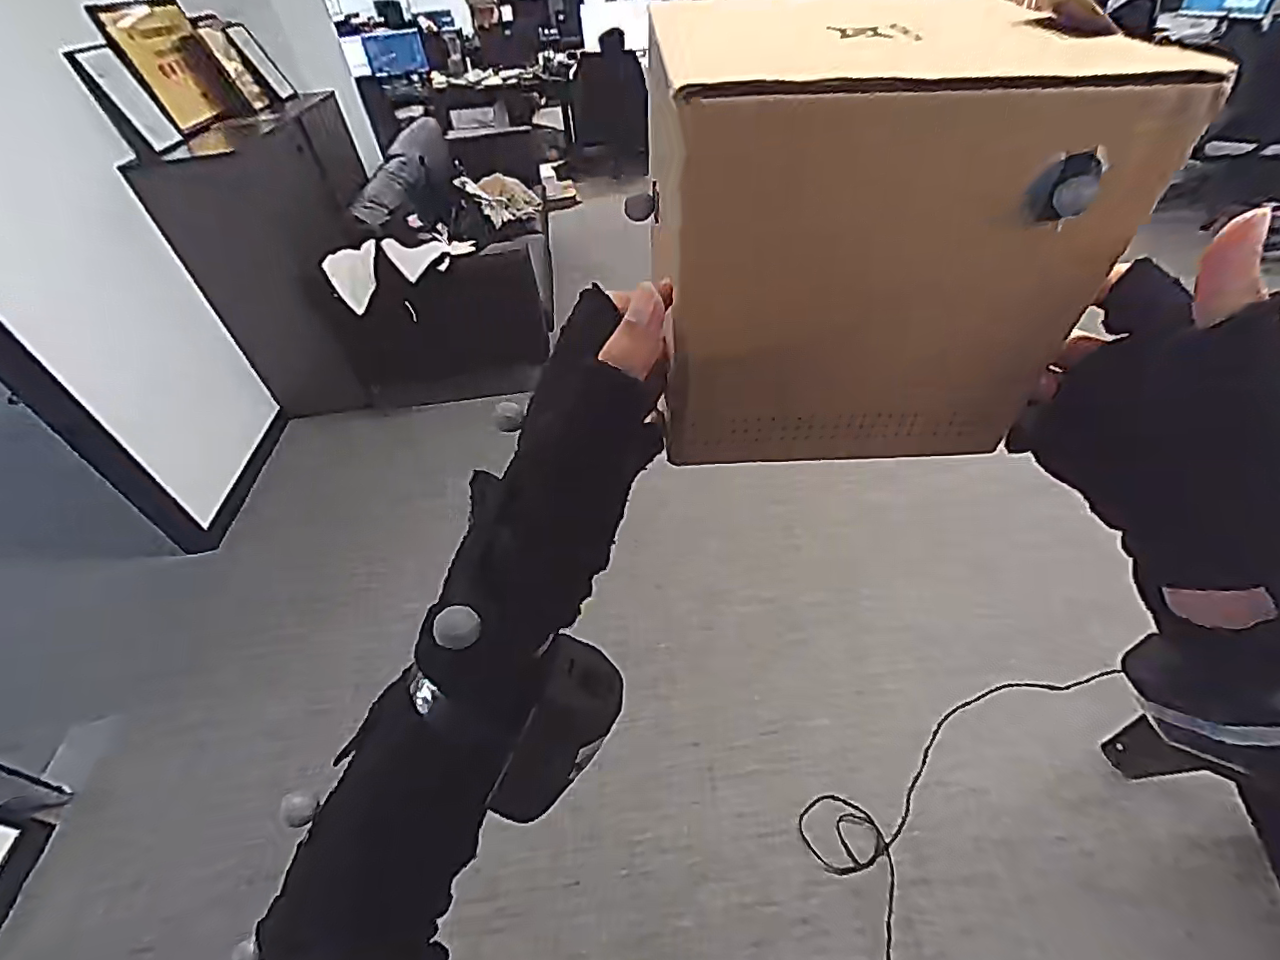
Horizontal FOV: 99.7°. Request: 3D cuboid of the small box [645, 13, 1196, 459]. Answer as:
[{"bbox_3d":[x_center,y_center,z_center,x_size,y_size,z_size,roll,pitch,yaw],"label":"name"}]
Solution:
[{"bbox_3d":[0.095,-0.124,0.286,0.179,0.176,0.168,-2,48,-1],"label":"small box"}]
